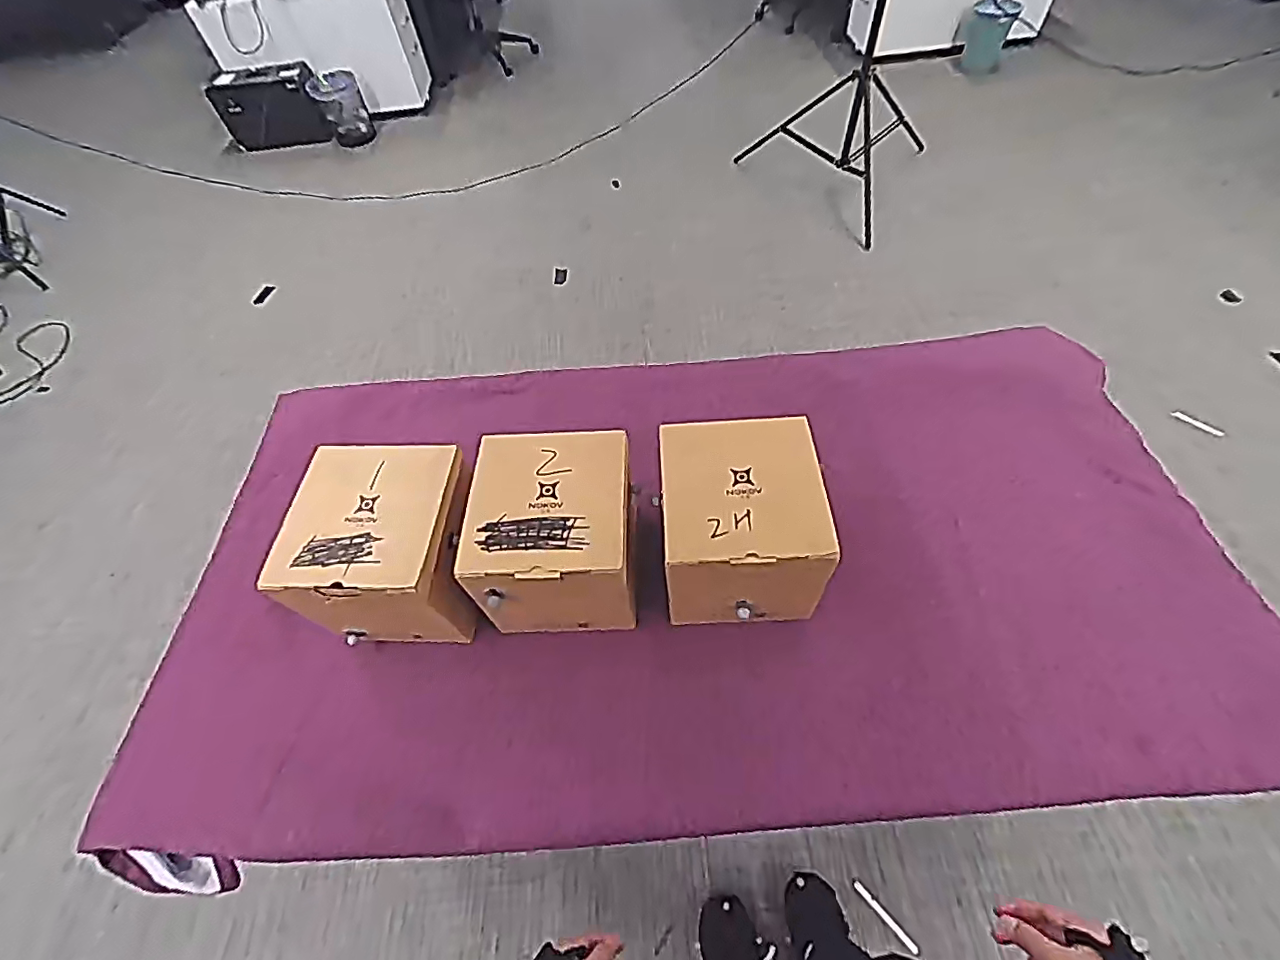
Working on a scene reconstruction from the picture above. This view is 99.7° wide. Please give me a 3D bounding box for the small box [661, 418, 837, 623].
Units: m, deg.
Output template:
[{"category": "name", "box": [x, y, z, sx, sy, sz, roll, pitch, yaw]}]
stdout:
[{"category": "small box", "box": [0.110, 0.051, 0.624, 0.168, 0.176, 0.179, -3, 55, 4]}]
